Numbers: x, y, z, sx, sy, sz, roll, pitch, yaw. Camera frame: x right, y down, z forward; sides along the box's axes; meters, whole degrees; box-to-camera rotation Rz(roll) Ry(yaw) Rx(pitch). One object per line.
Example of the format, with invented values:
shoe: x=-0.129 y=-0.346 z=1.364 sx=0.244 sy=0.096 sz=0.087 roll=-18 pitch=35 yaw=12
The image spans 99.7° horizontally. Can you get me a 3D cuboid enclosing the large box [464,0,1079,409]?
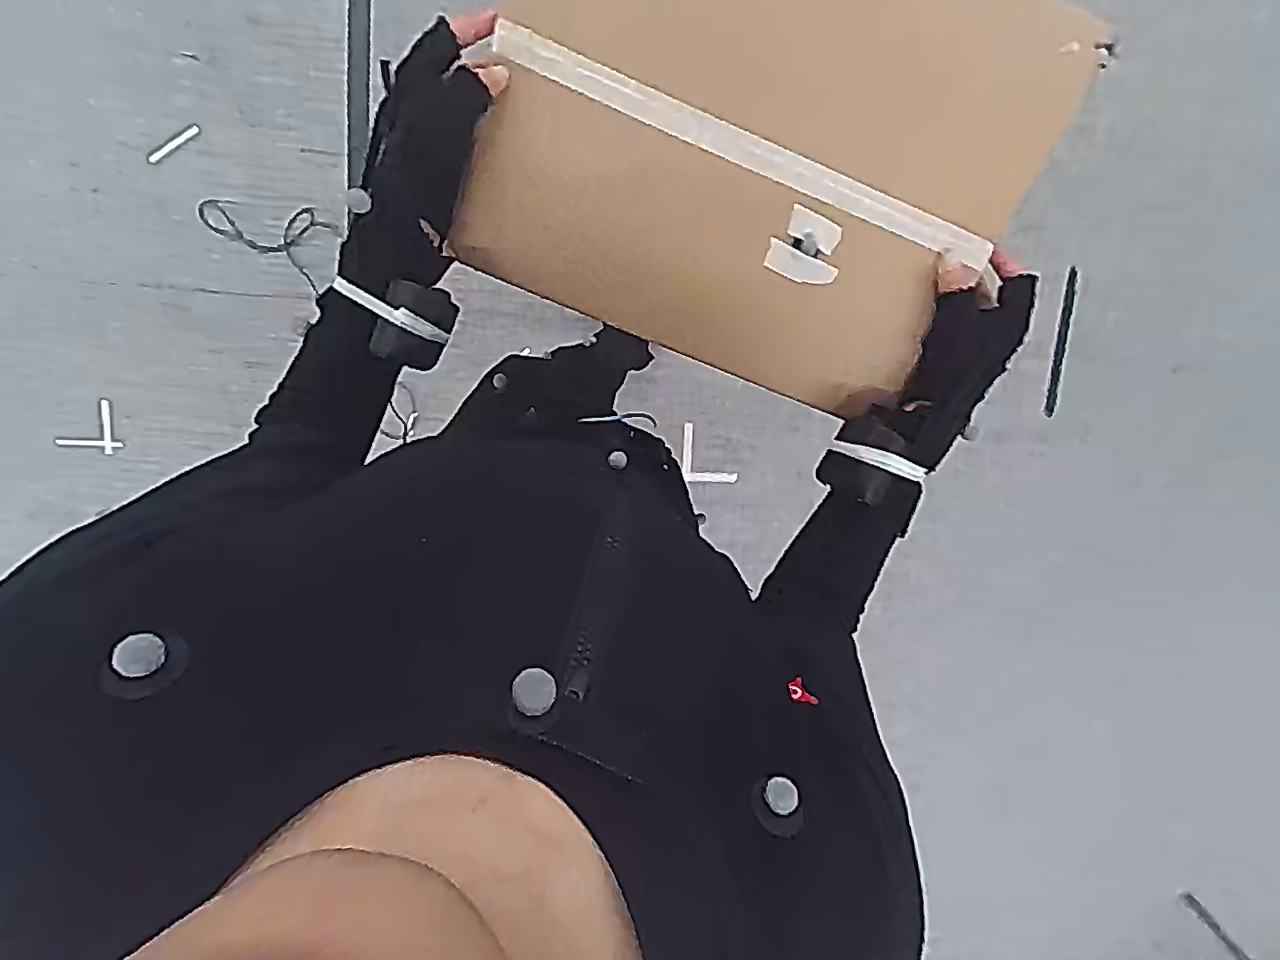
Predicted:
large box: x=0.087 y=-0.315 z=0.563 sx=0.408 sy=0.320 sz=0.320 roll=20 pitch=112 yaw=-7
